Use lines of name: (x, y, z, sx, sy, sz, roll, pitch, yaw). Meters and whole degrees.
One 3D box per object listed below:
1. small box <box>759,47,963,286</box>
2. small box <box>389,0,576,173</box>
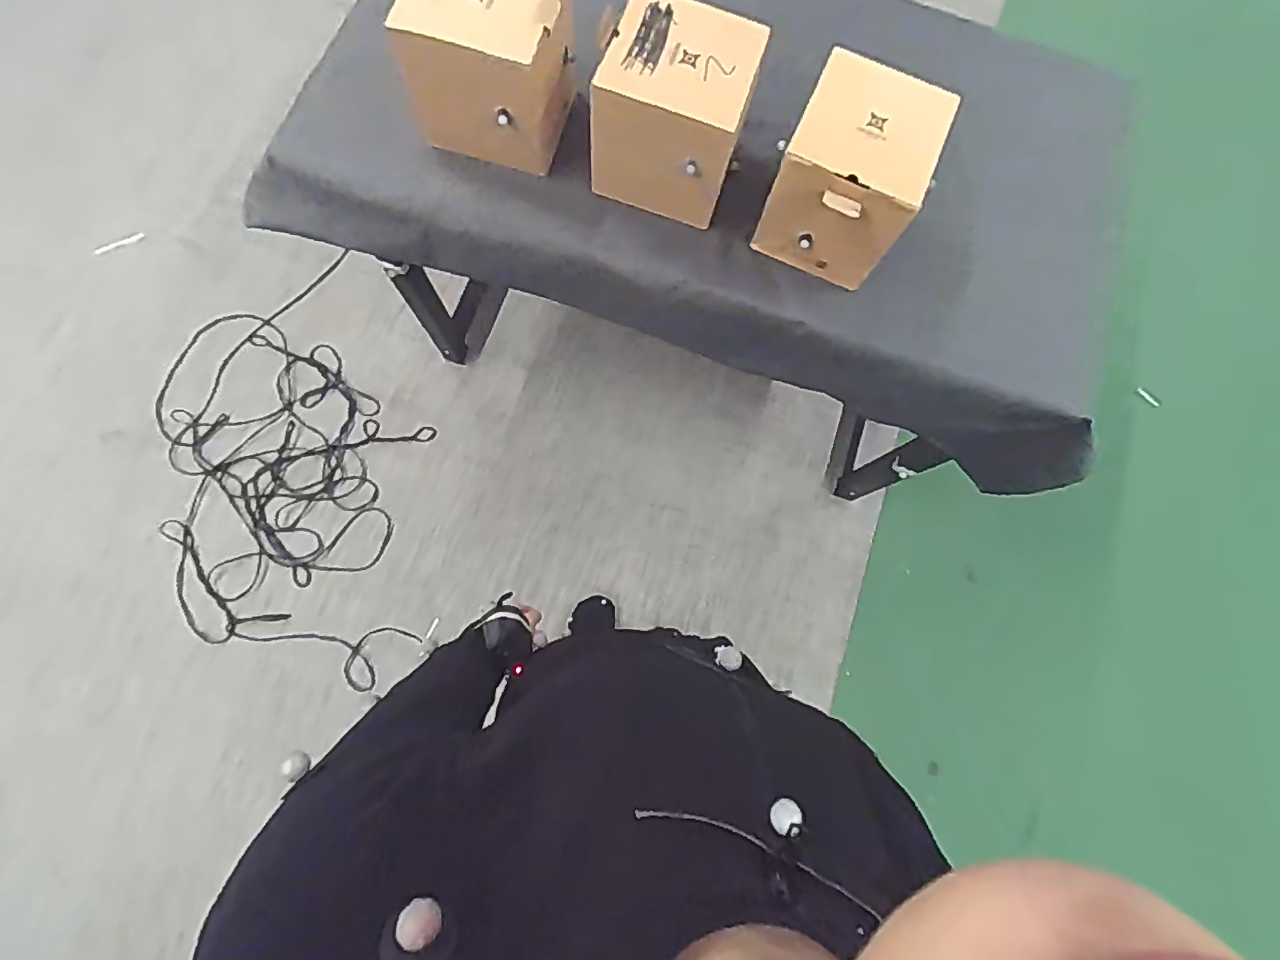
small box: (0.273, -0.395, 0.706, 0.168, 0.176, 0.179, 24, 77, 1)
small box: (-0.188, -0.544, 0.712, 0.179, 0.176, 0.168, 14, 75, 0)
